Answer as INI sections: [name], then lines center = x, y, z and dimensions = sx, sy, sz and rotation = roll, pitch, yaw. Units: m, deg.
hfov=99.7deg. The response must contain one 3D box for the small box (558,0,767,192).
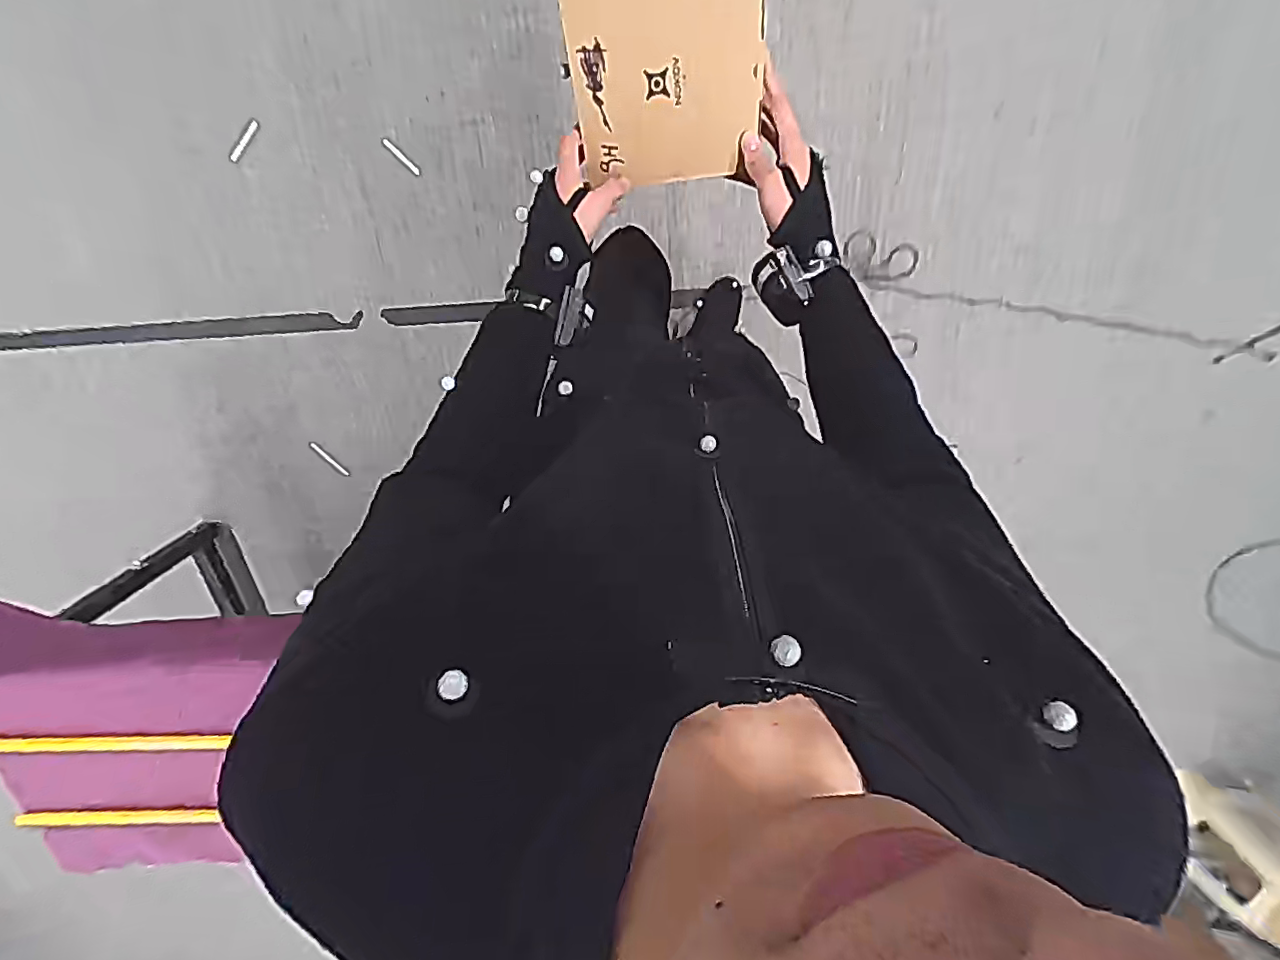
[small box]
center = 0.027, -0.416, 0.547
dimensions = 0.179, 0.176, 0.168
rotation = -3, 135, 7
